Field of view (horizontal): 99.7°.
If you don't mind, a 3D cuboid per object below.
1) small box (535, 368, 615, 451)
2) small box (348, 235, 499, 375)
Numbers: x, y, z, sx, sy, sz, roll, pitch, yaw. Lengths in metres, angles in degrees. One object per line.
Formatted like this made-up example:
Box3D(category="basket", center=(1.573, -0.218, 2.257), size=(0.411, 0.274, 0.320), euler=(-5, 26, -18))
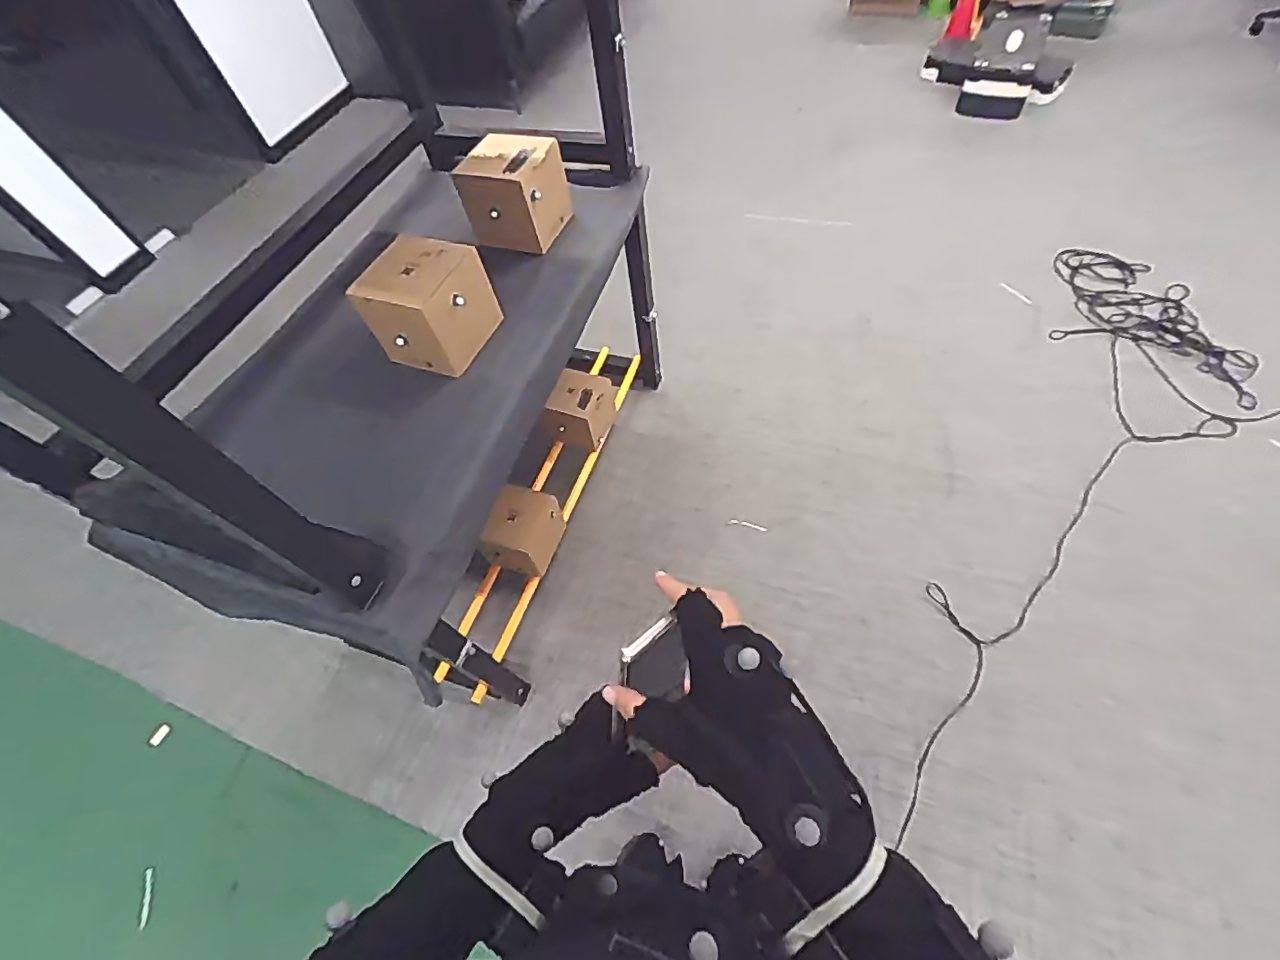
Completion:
Box3D(category="small box", center=(-0.190, -0.211, 1.659), size=(0.179, 0.176, 0.168), euler=(16, 60, 16))
Box3D(category="small box", center=(-0.390, -0.324, 1.012), size=(0.168, 0.176, 0.179), euler=(16, 61, 16))
